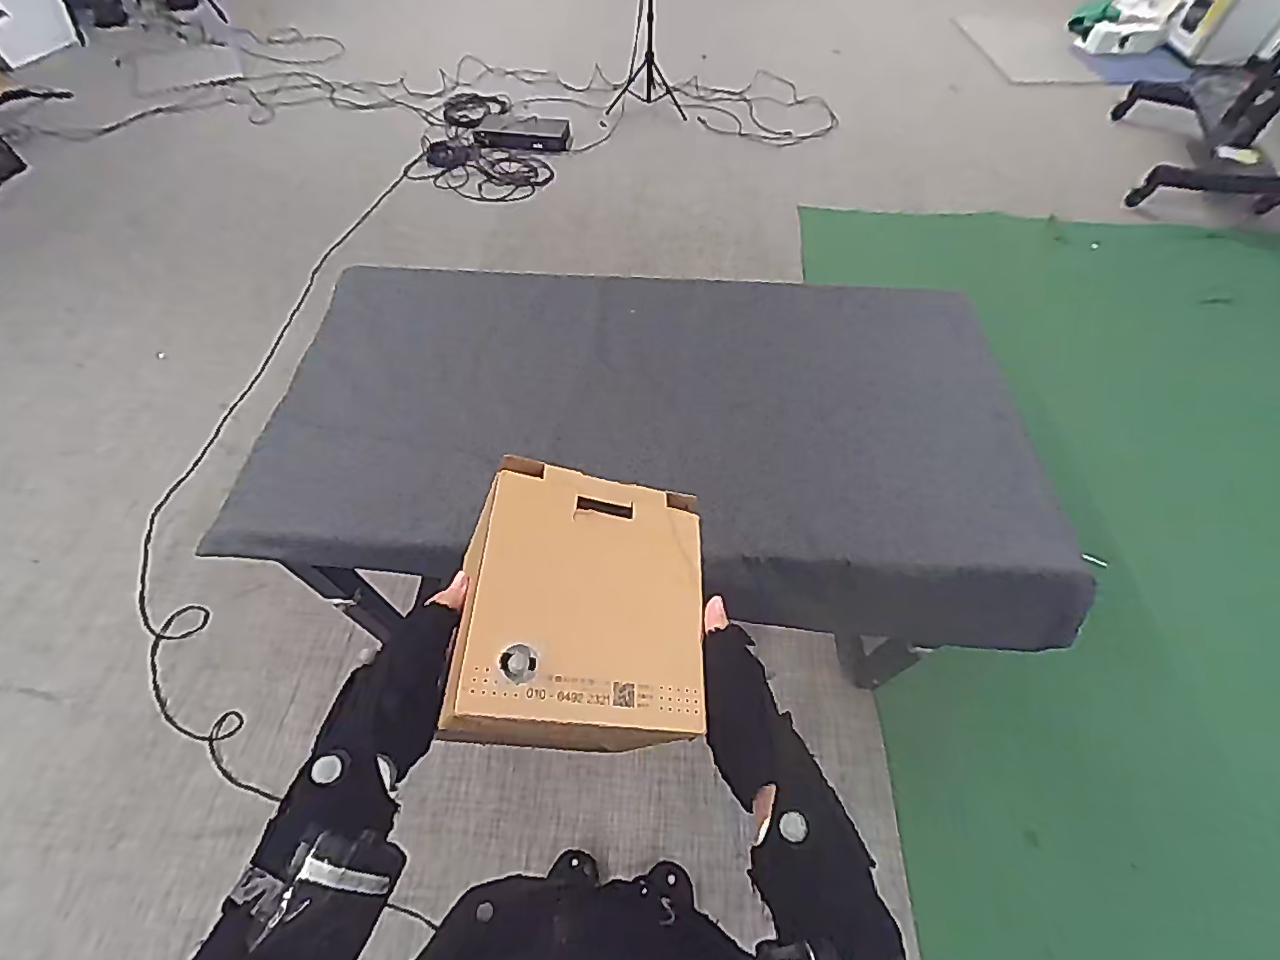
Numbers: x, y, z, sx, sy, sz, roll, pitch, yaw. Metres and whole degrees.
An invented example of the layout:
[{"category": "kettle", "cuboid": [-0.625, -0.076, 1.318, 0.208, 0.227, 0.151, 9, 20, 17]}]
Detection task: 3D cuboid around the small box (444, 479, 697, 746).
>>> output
[{"category": "small box", "cuboid": [-0.060, 0.125, 0.457, 0.168, 0.179, 0.176, 13, 56, -18]}]
